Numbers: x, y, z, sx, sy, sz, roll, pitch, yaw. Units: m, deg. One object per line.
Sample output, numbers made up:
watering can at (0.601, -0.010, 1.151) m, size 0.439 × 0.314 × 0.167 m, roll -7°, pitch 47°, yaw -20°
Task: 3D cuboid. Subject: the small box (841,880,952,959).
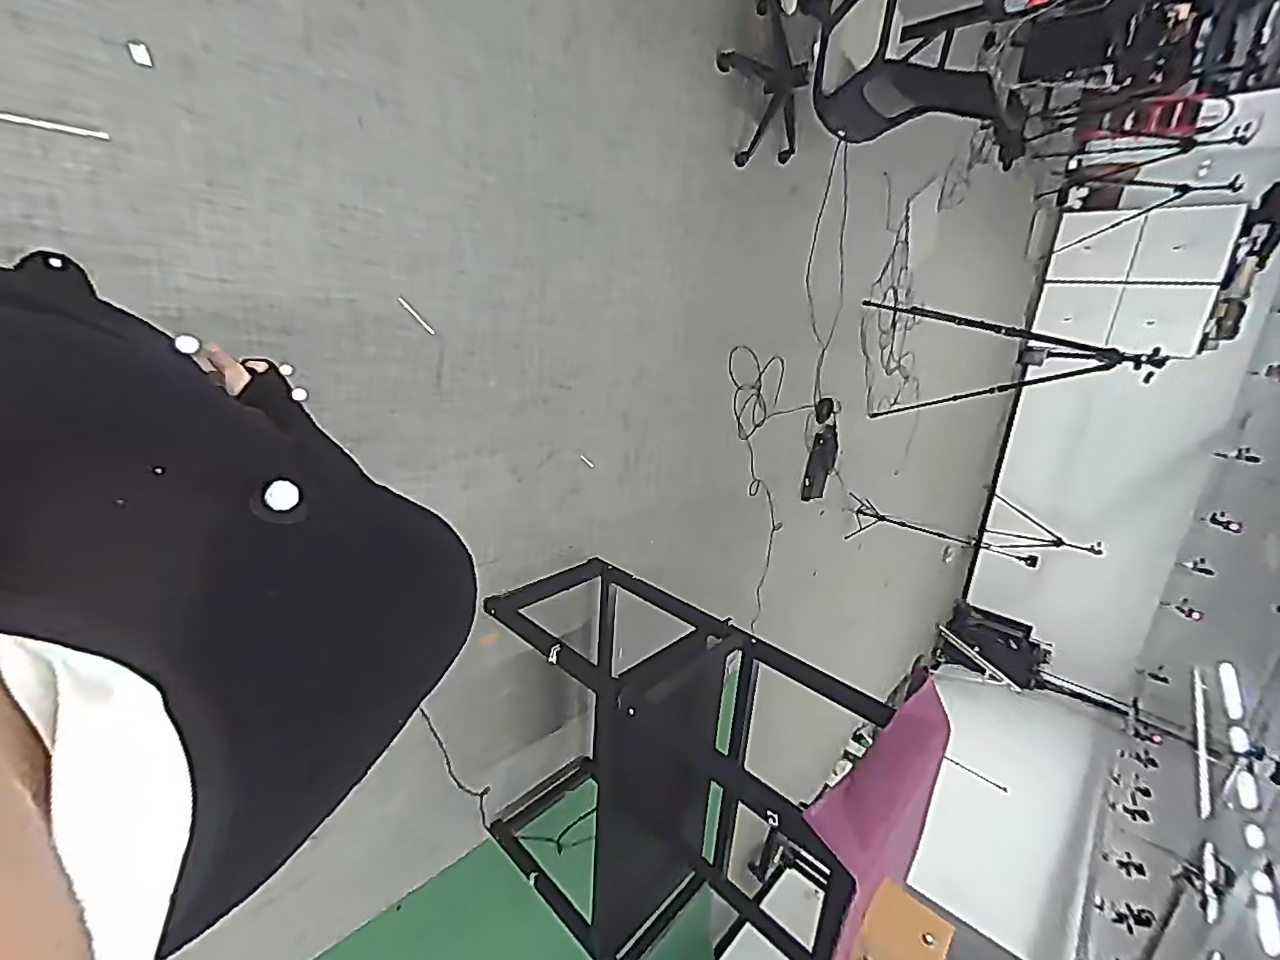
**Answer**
small box at (0.576, 1.071, 1.226) m, size 0.179 × 0.176 × 0.168 m, roll -9°, pitch 110°, yaw -46°
